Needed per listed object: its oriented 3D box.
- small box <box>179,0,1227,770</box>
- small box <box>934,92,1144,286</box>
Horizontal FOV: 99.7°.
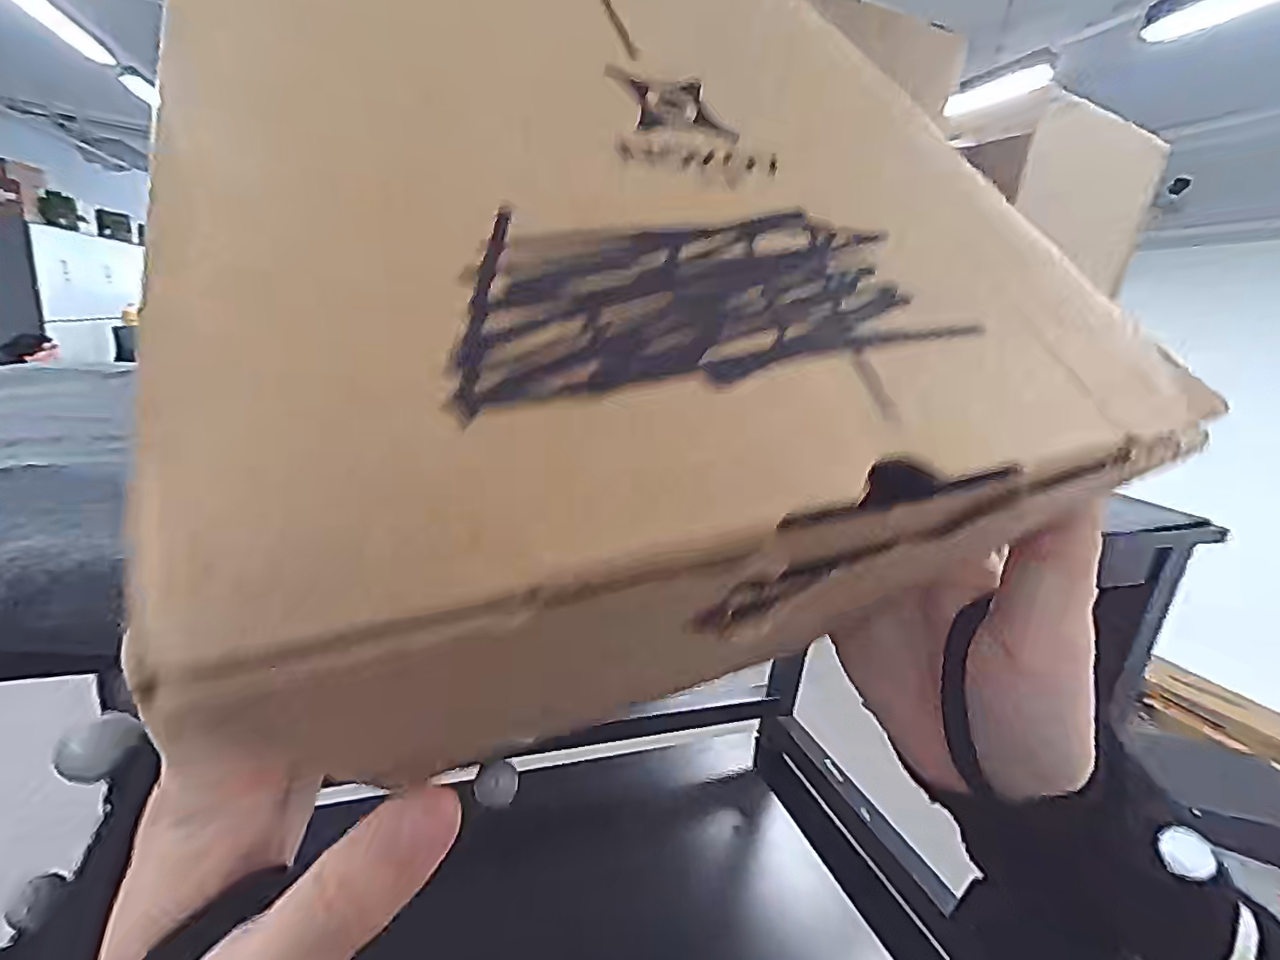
[{"bbox_3d":[-0.009,-0.023,0.176,0.168,0.176,0.179,-10,61,-22],"label":"small box"},{"bbox_3d":[0.318,-0.230,0.512,0.179,0.176,0.168,1,15,-25],"label":"small box"}]
